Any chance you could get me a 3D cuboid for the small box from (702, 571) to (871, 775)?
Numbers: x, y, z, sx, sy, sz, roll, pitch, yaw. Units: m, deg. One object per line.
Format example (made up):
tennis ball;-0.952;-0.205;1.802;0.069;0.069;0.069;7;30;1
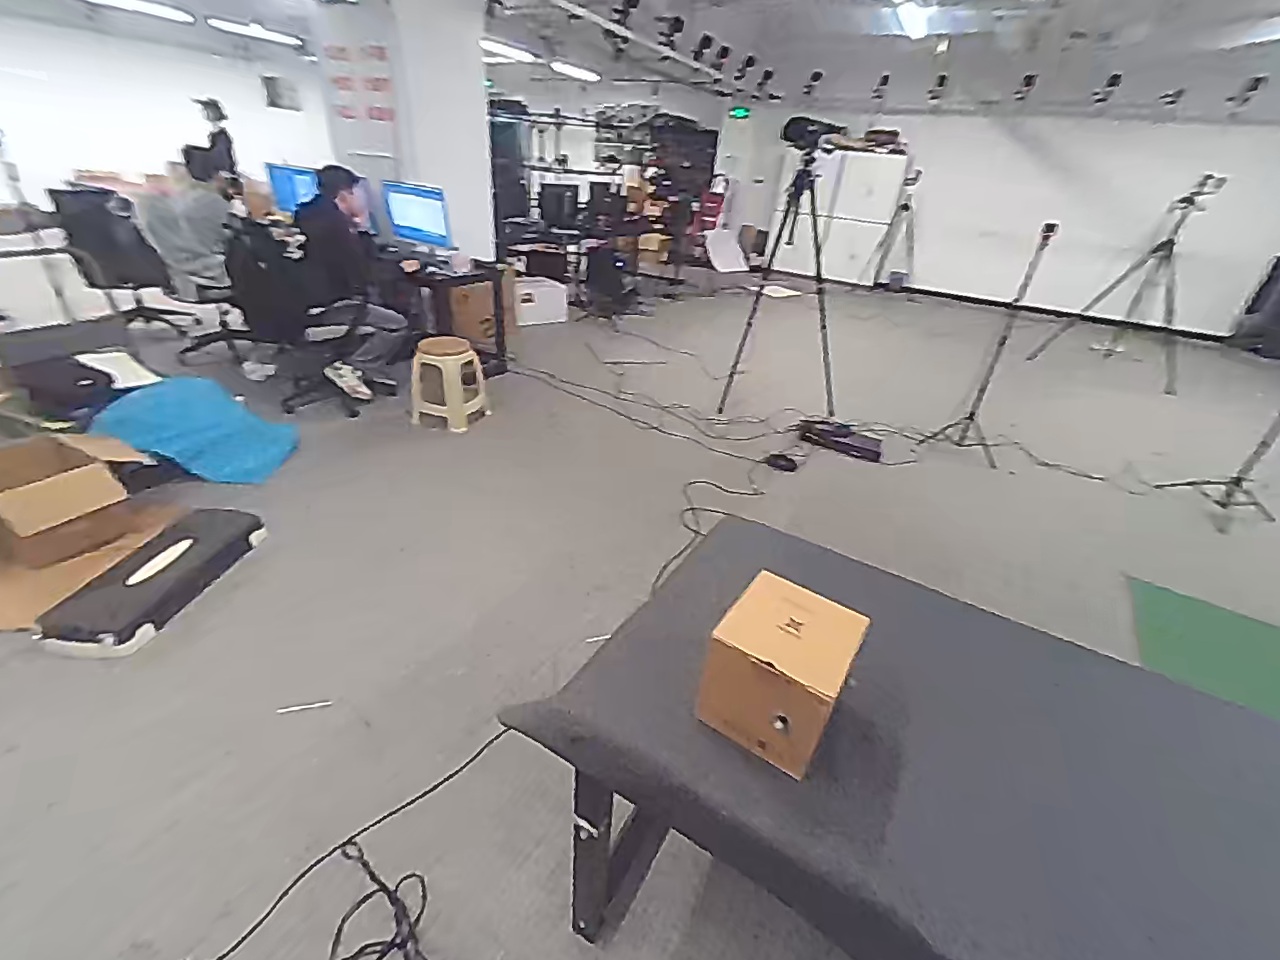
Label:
small box;0.200;0.266;0.762;0.168;0.176;0.179;24;33;26
